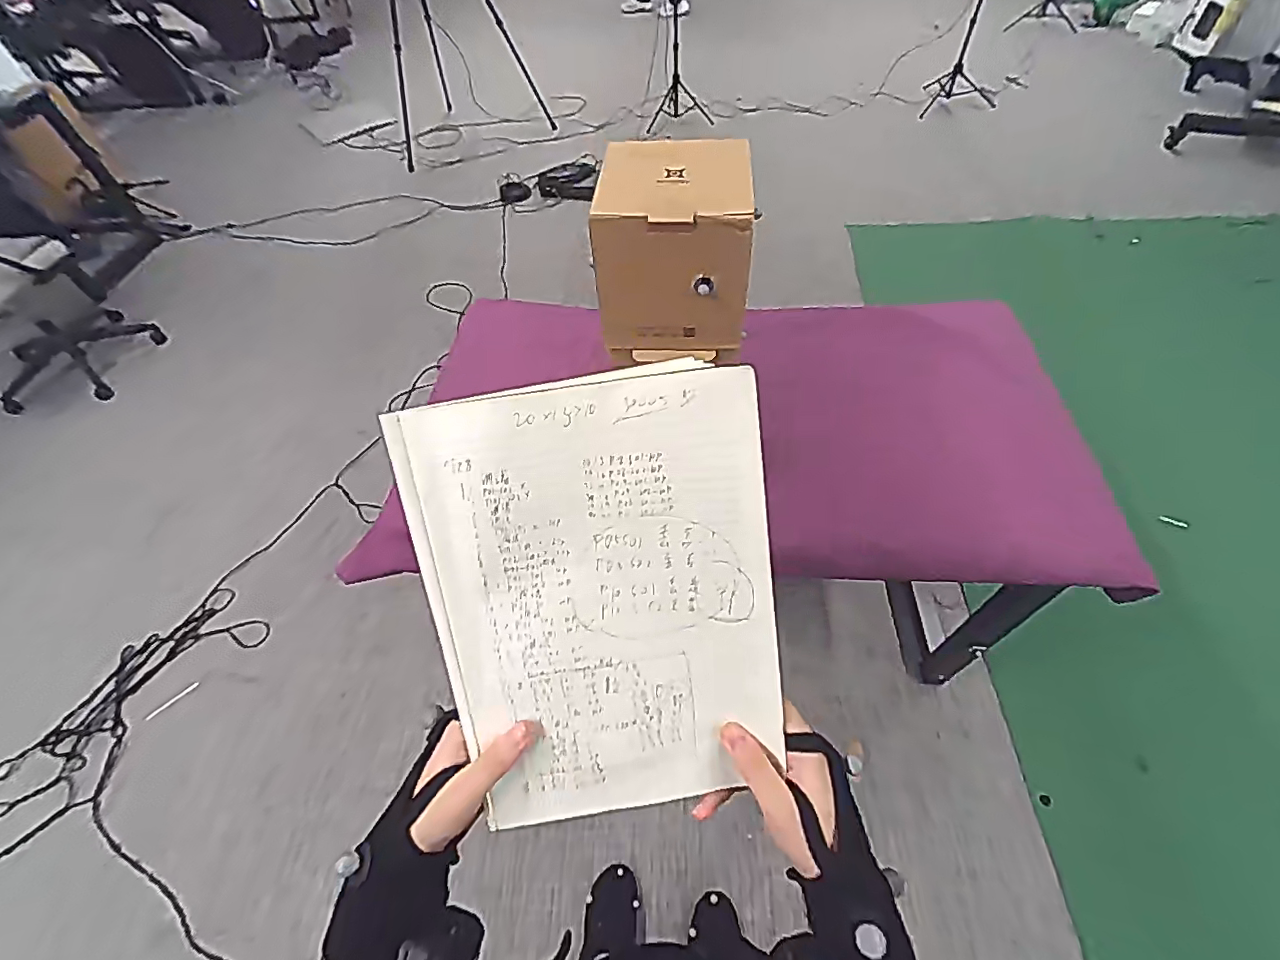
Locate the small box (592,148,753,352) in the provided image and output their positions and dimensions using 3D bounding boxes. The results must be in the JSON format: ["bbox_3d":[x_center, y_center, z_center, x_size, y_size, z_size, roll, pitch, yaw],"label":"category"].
[{"bbox_3d":[0.045,-0.271,0.650,0.168,0.176,0.179,3,53,6],"label":"small box"}]

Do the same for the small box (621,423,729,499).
[{"bbox_3d":[0.064,-0.082,0.917,0.168,0.176,0.179,2,54,5],"label":"small box"}]

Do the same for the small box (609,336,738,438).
[{"bbox_3d":[0.054,-0.176,0.782,0.168,0.176,0.179,2,52,6],"label":"small box"}]
